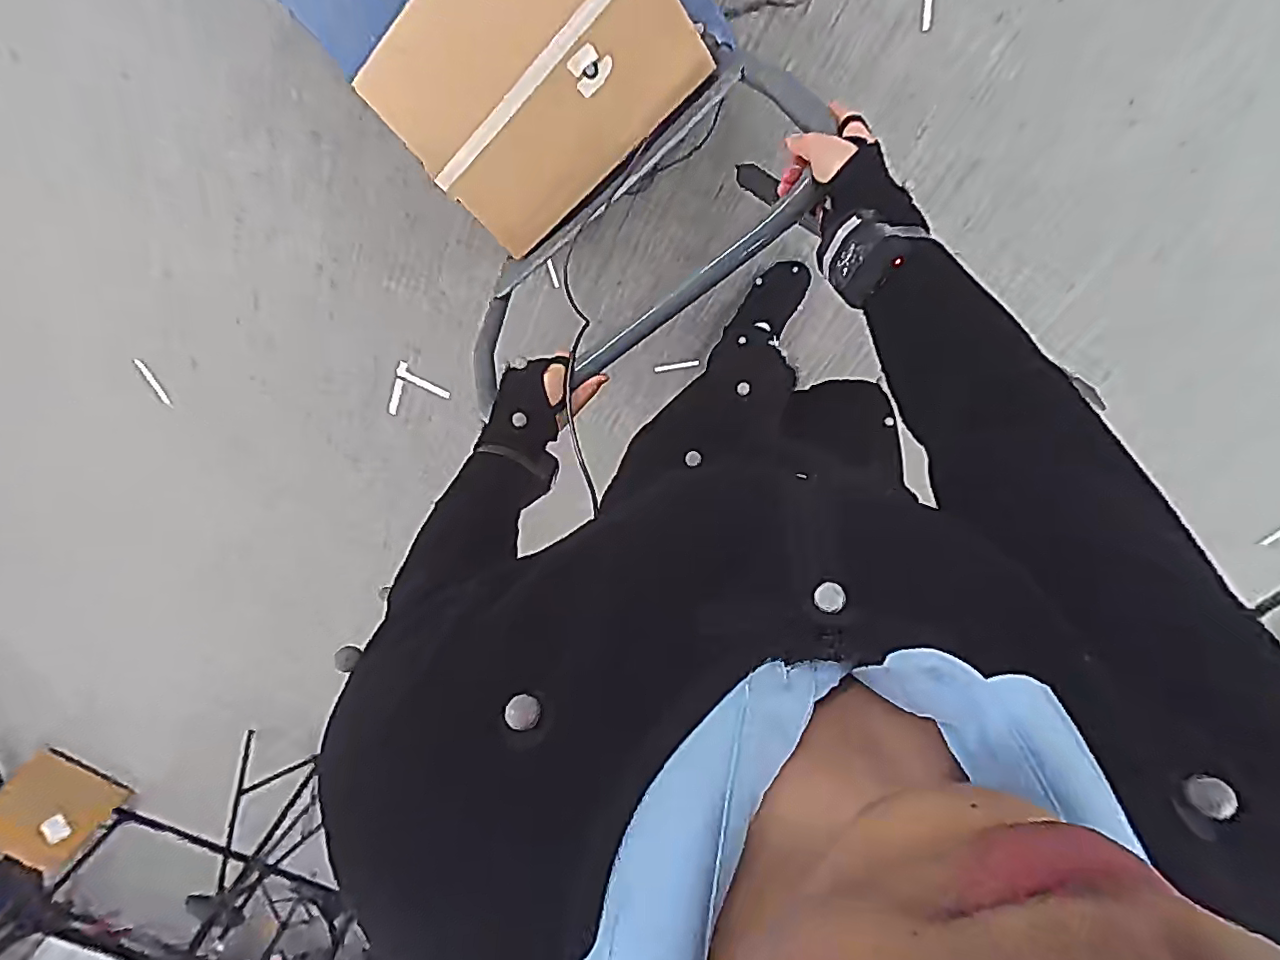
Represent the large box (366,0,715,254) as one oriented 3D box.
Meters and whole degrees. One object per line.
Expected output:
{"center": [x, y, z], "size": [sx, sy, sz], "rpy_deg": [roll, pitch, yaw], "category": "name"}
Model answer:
{"center": [-0.144, -0.655, 0.869], "size": [0.408, 0.320, 0.320], "rpy_deg": [-34, 122, 23], "category": "large box"}
